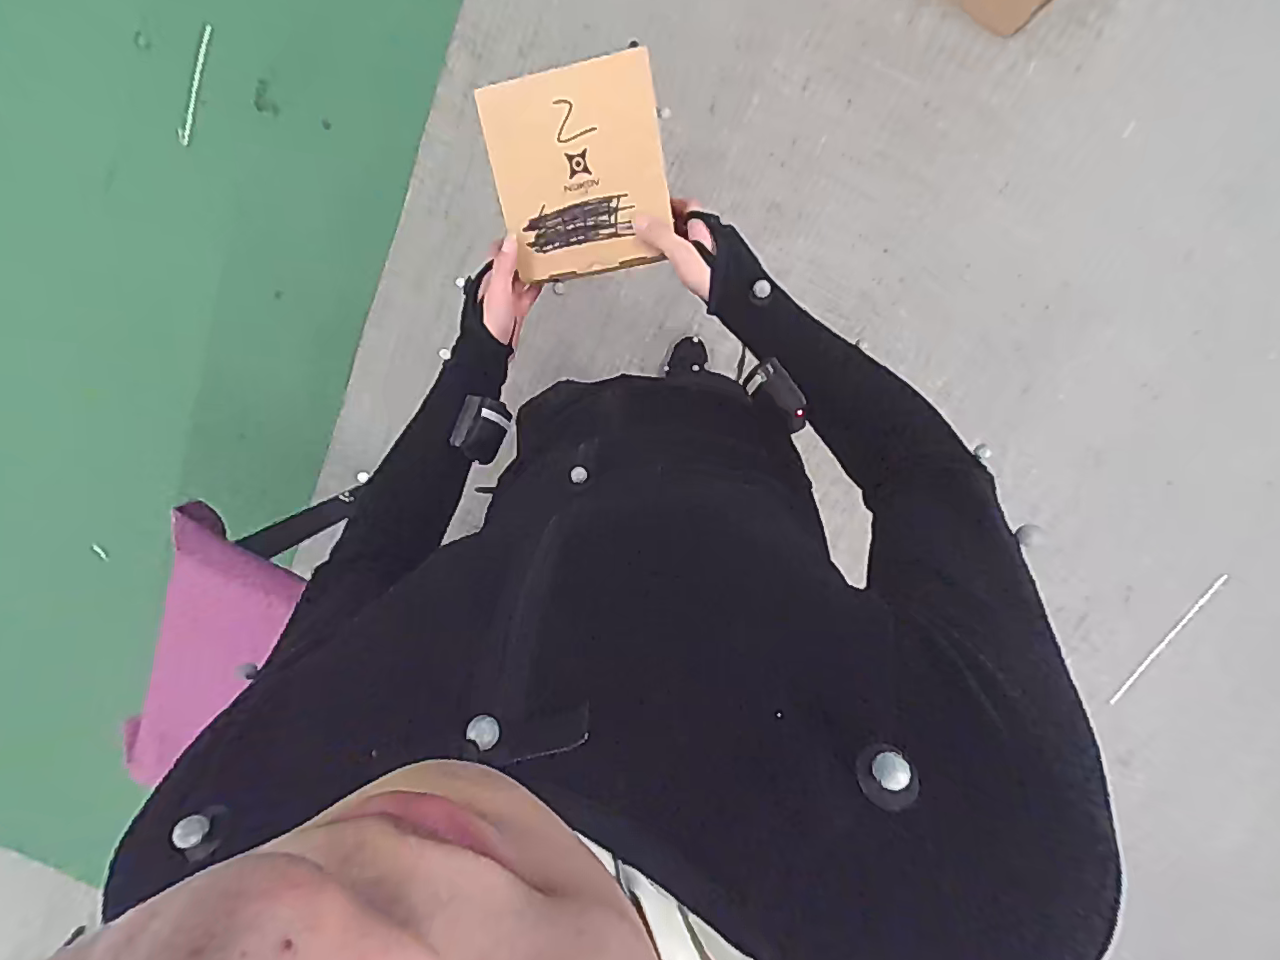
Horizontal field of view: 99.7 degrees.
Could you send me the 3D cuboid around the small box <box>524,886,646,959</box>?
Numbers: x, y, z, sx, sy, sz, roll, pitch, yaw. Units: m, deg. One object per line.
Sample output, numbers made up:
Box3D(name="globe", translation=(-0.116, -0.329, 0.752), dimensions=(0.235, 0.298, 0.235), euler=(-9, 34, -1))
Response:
Box3D(name="small box", translation=(-0.098, 0.791, 0.844), dimensions=(0.168, 0.176, 0.179), euler=(24, 108, 0))
